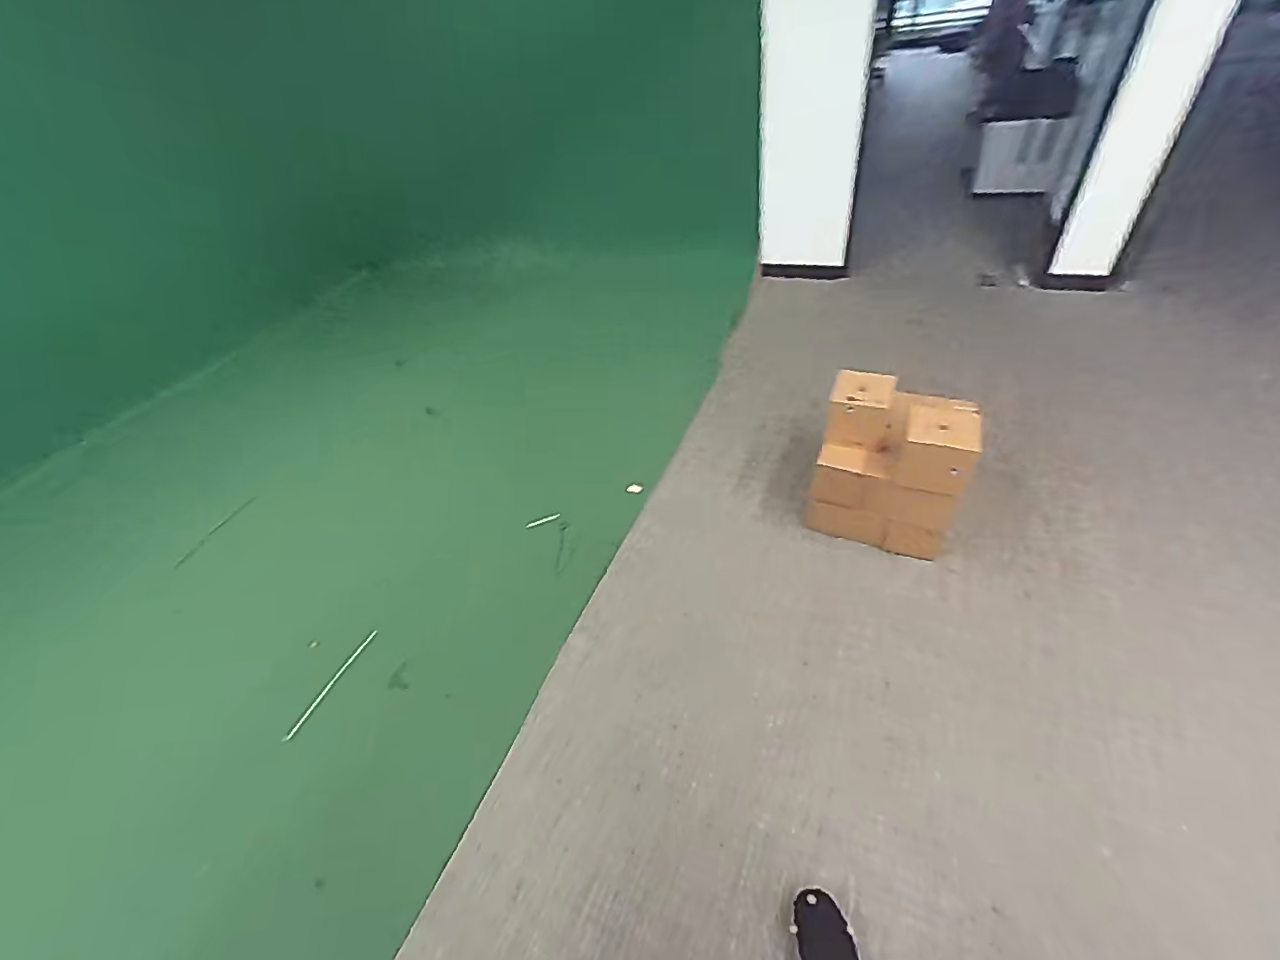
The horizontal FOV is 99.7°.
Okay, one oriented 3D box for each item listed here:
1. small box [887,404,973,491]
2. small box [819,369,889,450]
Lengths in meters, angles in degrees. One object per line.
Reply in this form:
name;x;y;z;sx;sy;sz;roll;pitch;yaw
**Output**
small box;0.813;-0.090;1.521;0.179;0.176;0.168;12;47;22
small box;0.663;-0.220;1.687;0.168;0.176;0.179;13;47;24
